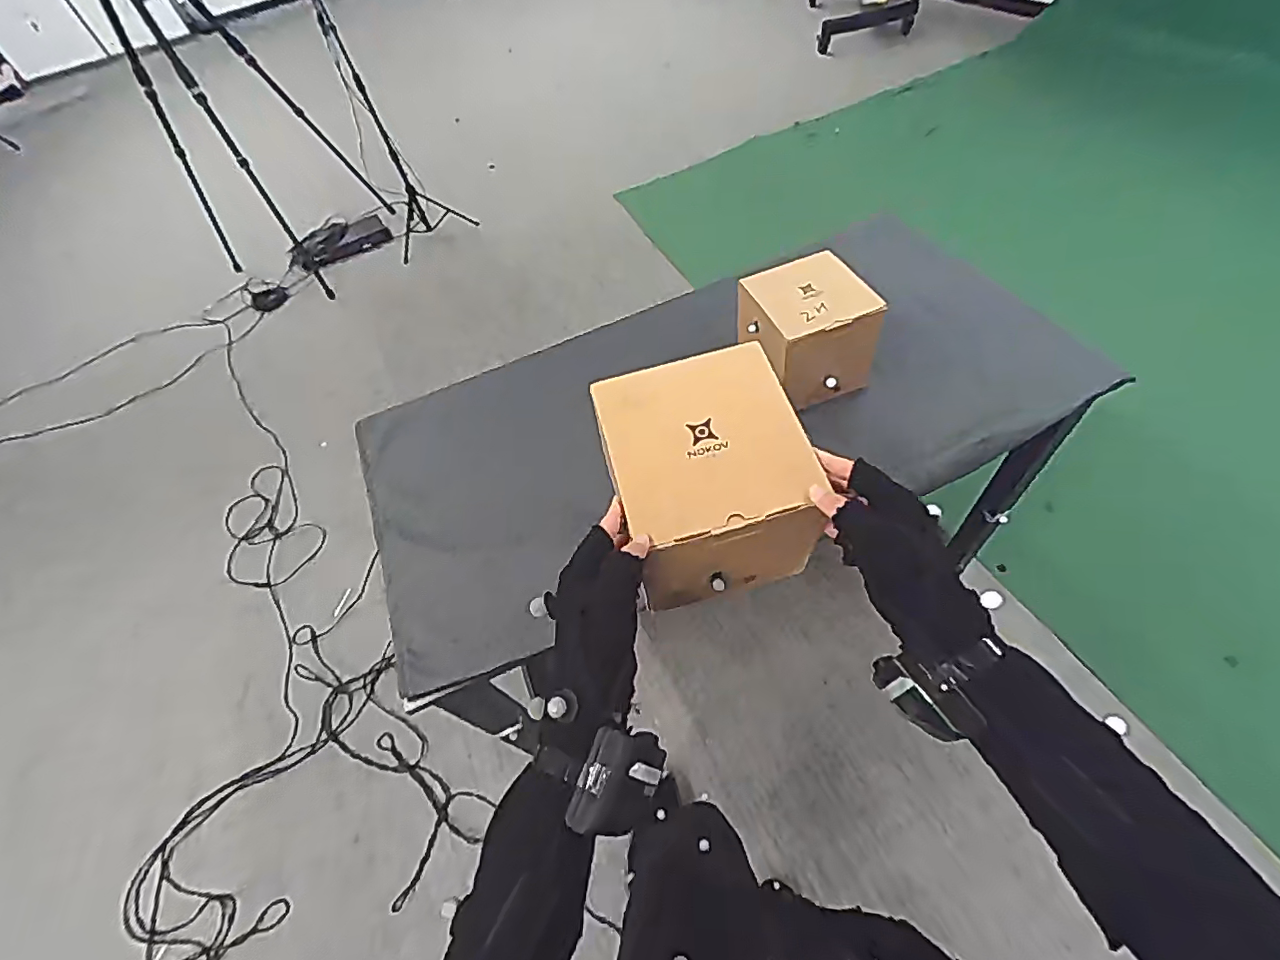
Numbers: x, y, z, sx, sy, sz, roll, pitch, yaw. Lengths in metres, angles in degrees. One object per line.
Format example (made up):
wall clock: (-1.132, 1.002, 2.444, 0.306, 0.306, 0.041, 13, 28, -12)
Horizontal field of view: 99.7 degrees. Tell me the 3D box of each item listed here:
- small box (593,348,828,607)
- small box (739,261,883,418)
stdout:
small box: (0.059, 0.004, 0.539, 0.168, 0.176, 0.179, -15, 61, -3)
small box: (0.276, -0.234, 0.919, 0.168, 0.176, 0.179, -20, 54, -4)
